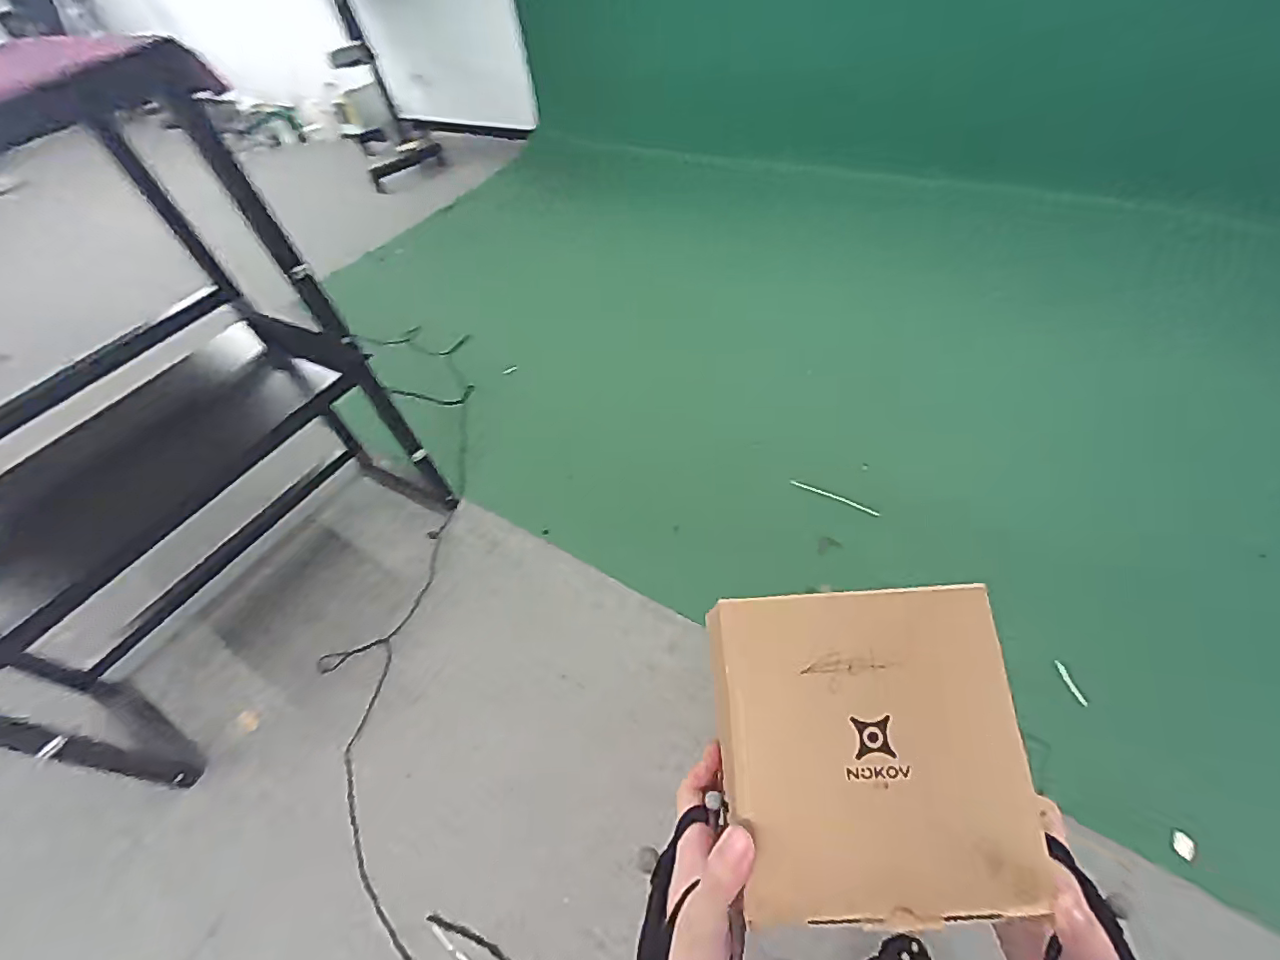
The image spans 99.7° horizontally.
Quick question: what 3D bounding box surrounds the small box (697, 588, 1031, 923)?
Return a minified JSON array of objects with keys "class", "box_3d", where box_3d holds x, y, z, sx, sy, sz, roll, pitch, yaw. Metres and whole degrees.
[{"class":"small box","box_3d":[0.130,0.178,0.392,0.168,0.176,0.179,-4,71,3]}]
